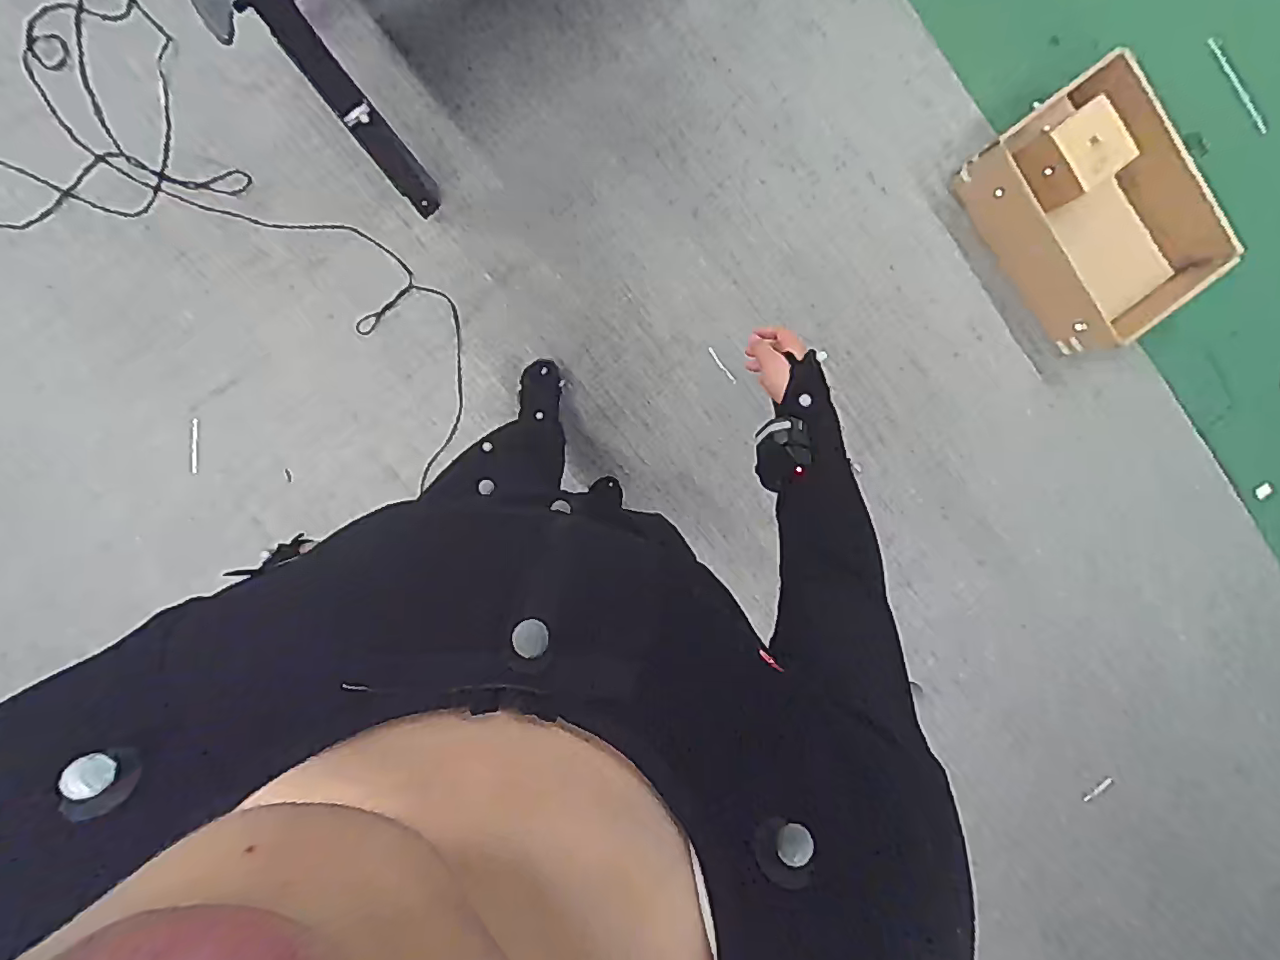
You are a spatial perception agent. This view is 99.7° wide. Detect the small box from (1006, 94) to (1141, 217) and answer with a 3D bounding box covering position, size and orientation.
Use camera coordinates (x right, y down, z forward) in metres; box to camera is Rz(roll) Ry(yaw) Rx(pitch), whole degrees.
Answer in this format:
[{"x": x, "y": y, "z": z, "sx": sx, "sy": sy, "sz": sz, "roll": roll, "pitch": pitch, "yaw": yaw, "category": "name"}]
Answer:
[{"x": 1.083, "y": -0.808, "z": 1.367, "sx": 0.168, "sy": 0.176, "sz": 0.179, "roll": -37, "pitch": 97, "yaw": 1, "category": "small box"}]
